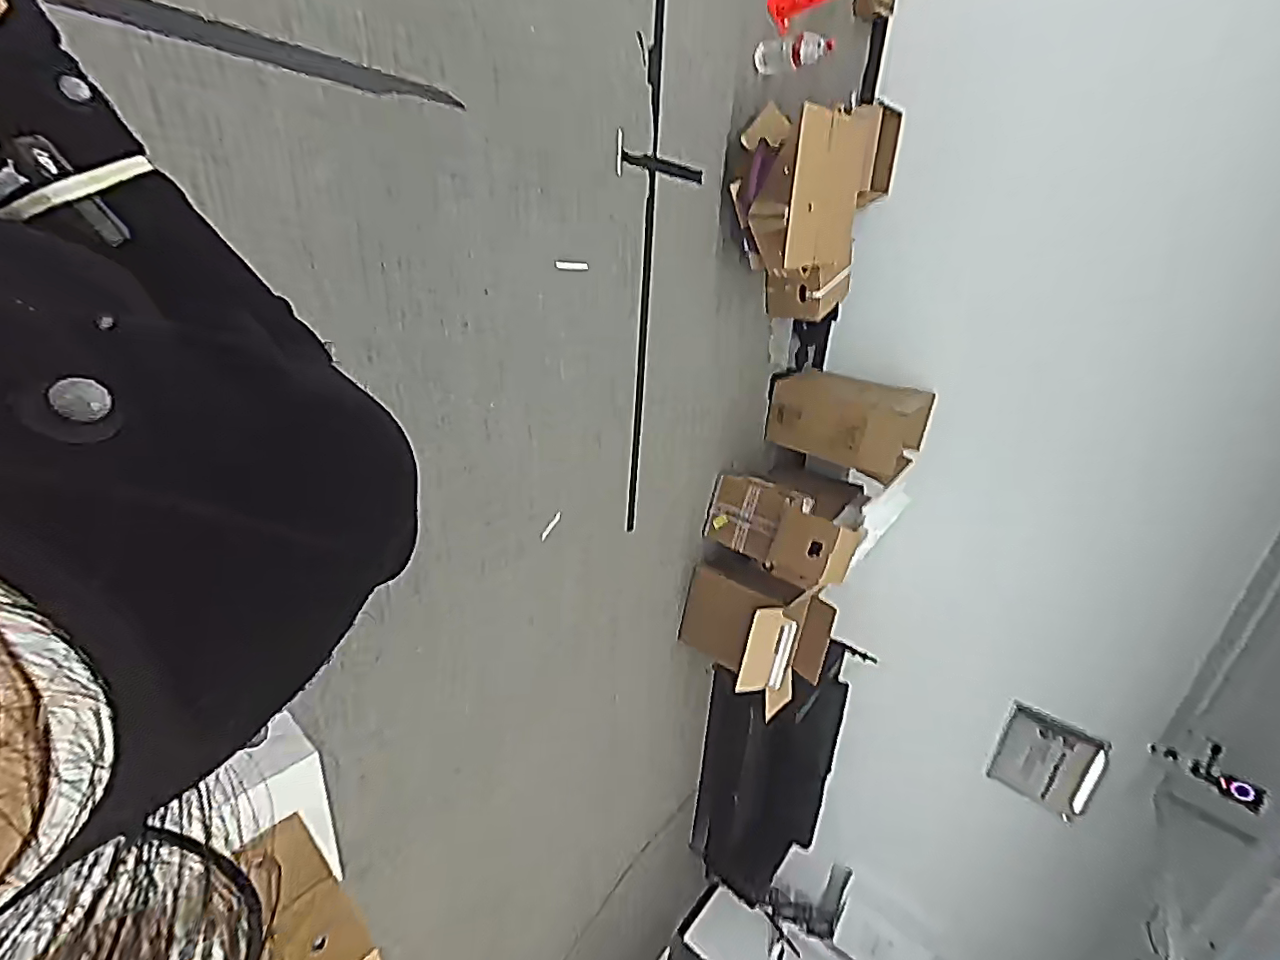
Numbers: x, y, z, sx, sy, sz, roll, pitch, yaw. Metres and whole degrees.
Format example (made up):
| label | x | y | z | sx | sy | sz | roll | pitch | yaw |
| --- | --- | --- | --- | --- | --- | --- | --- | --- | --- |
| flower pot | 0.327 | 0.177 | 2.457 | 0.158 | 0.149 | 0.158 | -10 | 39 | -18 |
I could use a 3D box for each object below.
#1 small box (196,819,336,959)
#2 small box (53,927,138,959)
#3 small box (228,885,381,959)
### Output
| label | x | y | z | sx | sy | sz | roll | pitch | yaw |
| --- | --- | --- | --- | --- | --- | --- | --- | --- | --- |
| small box | -0.656 | 0.764 | 0.969 | 0.168 | 0.176 | 0.179 | -23 | 125 | -46 |
| small box | -0.816 | 0.803 | 0.774 | 0.168 | 0.176 | 0.179 | -20 | 121 | -48 |
| small box | -0.534 | 0.810 | 0.873 | 0.168 | 0.176 | 0.179 | -22 | 125 | -46 |
